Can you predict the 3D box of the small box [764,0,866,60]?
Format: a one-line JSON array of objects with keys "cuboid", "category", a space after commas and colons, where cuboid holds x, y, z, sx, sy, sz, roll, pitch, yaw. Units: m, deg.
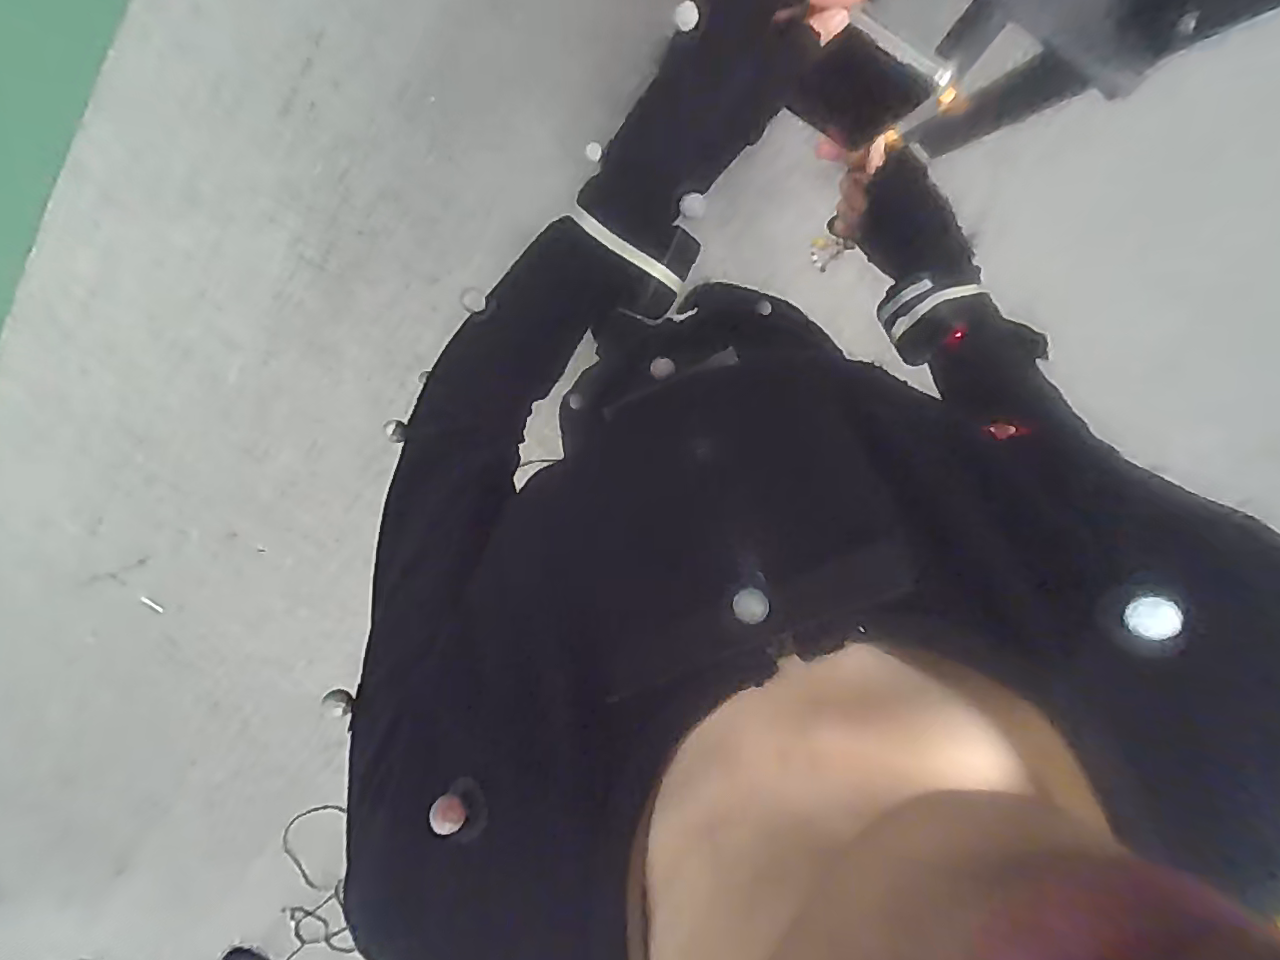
[{"cuboid": [0.340, -0.921, 0.978, 0.168, 0.176, 0.179, 39, 105, -13], "category": "small box"}]
